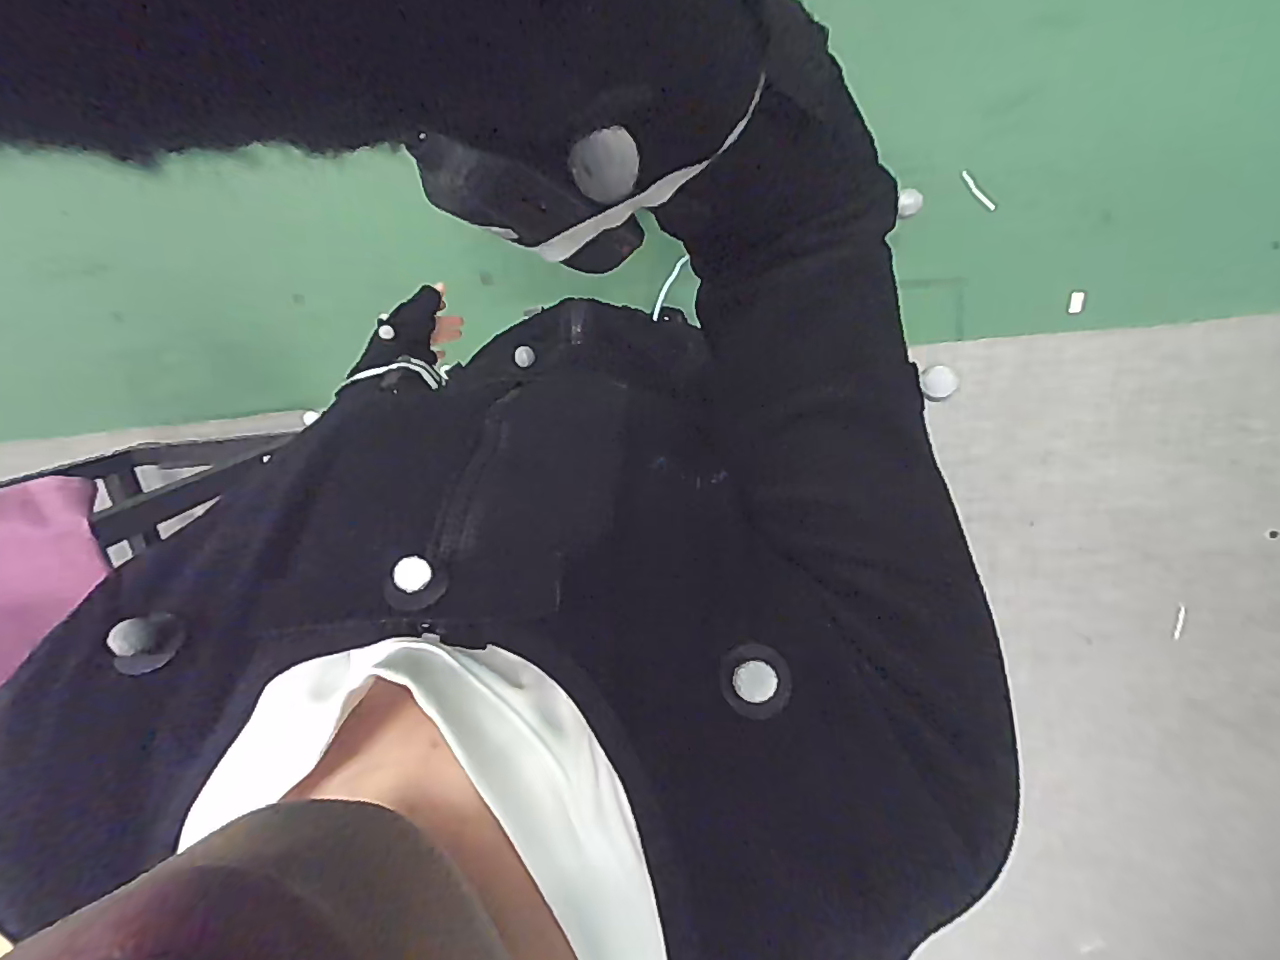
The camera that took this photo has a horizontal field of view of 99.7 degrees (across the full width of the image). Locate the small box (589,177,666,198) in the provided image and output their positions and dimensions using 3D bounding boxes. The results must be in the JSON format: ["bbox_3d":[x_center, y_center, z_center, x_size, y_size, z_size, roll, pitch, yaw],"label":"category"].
[{"bbox_3d":[-0.029,-0.734,1.184,0.168,0.176,0.179,-3,108,4],"label":"small box"}]

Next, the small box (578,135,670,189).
[{"bbox_3d":[-0.034,-0.676,1.032,0.168,0.176,0.179,-5,109,4],"label":"small box"}]
